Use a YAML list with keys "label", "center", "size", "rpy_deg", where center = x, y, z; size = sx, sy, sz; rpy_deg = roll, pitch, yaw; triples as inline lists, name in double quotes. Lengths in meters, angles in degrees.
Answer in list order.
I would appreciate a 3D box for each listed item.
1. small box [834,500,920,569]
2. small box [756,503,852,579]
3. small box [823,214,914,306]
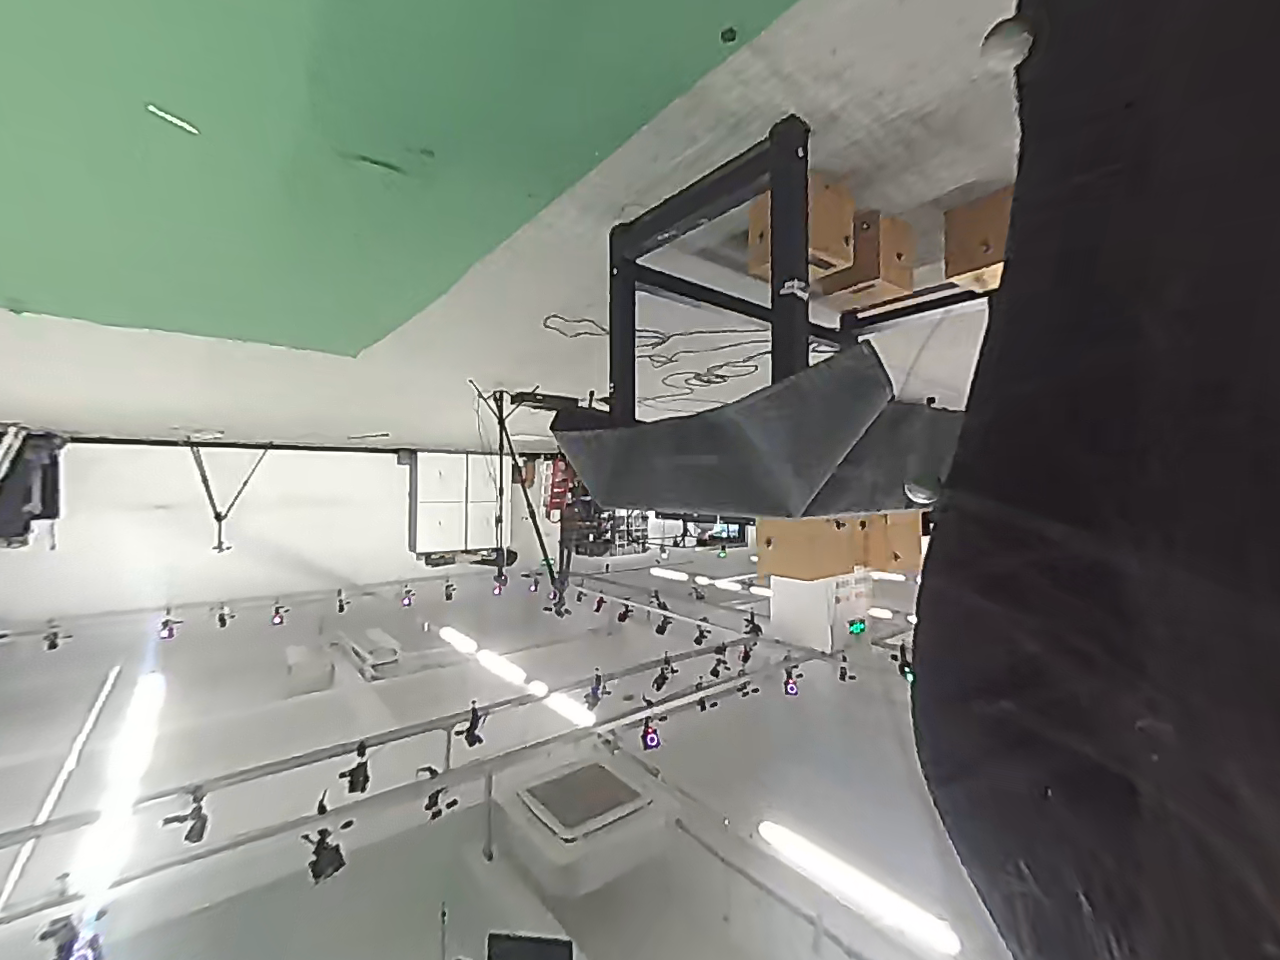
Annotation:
- label: "small box"
  center: [0.655, 0.143, 1.497]
  size: [0.179, 0.176, 0.168]
  rpy_deg: [0, 180, -34]
- label: "small box"
  center: [0.412, 0.144, 1.352]
  size: [0.168, 0.176, 0.179]
  rpy_deg: [-1, 180, -36]
- label: "small box"
  center: [0.604, -0.581, 1.436]
  size: [0.179, 0.176, 0.168]
  rpy_deg: [-2, -179, -37]
